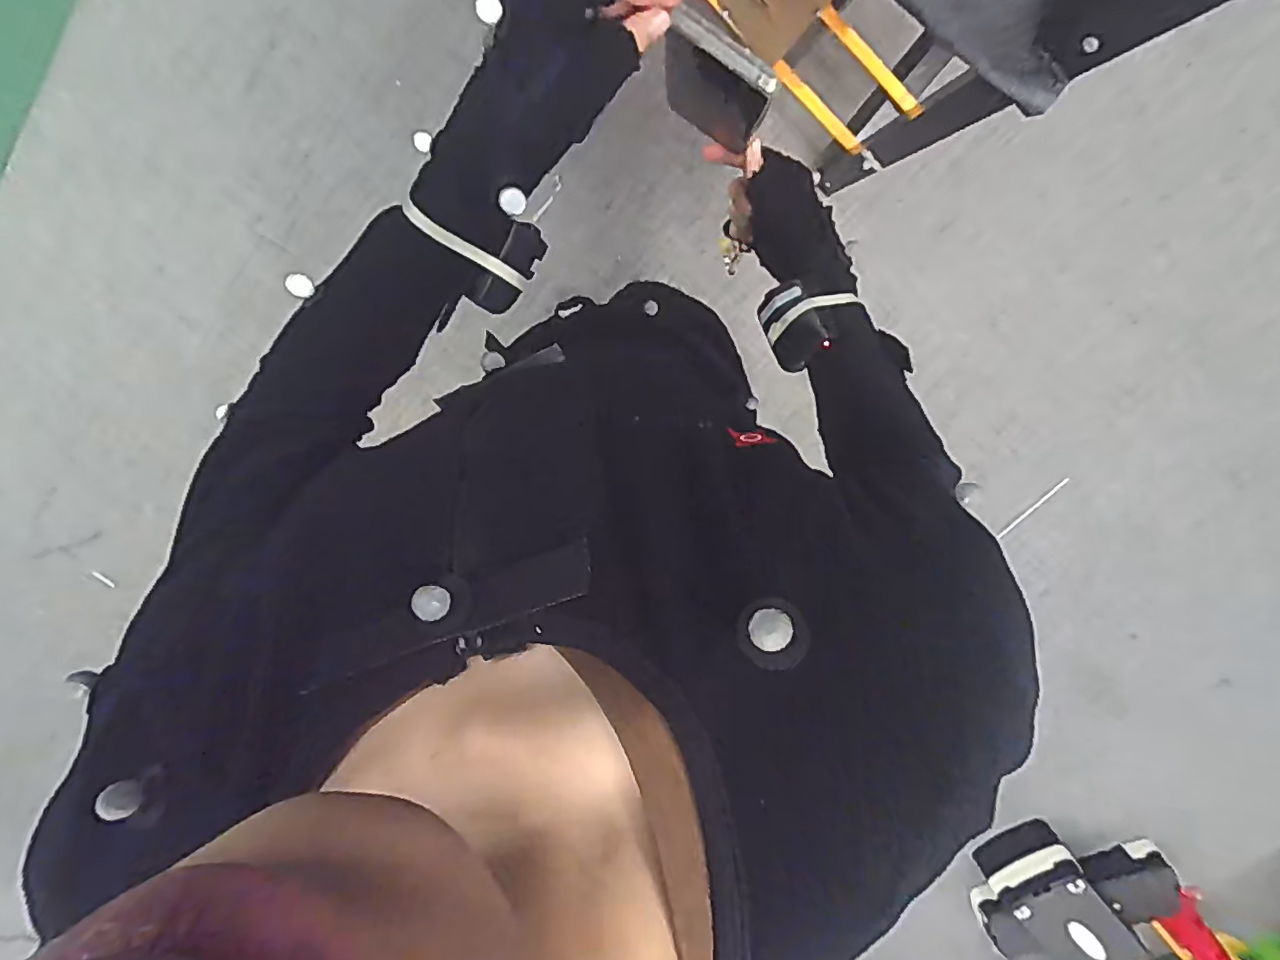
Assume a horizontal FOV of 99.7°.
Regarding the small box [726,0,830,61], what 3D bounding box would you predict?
[{"bbox_3d":[0.267,-0.915,0.973,0.168,0.176,0.179,42,105,-13],"label":"small box"}]
